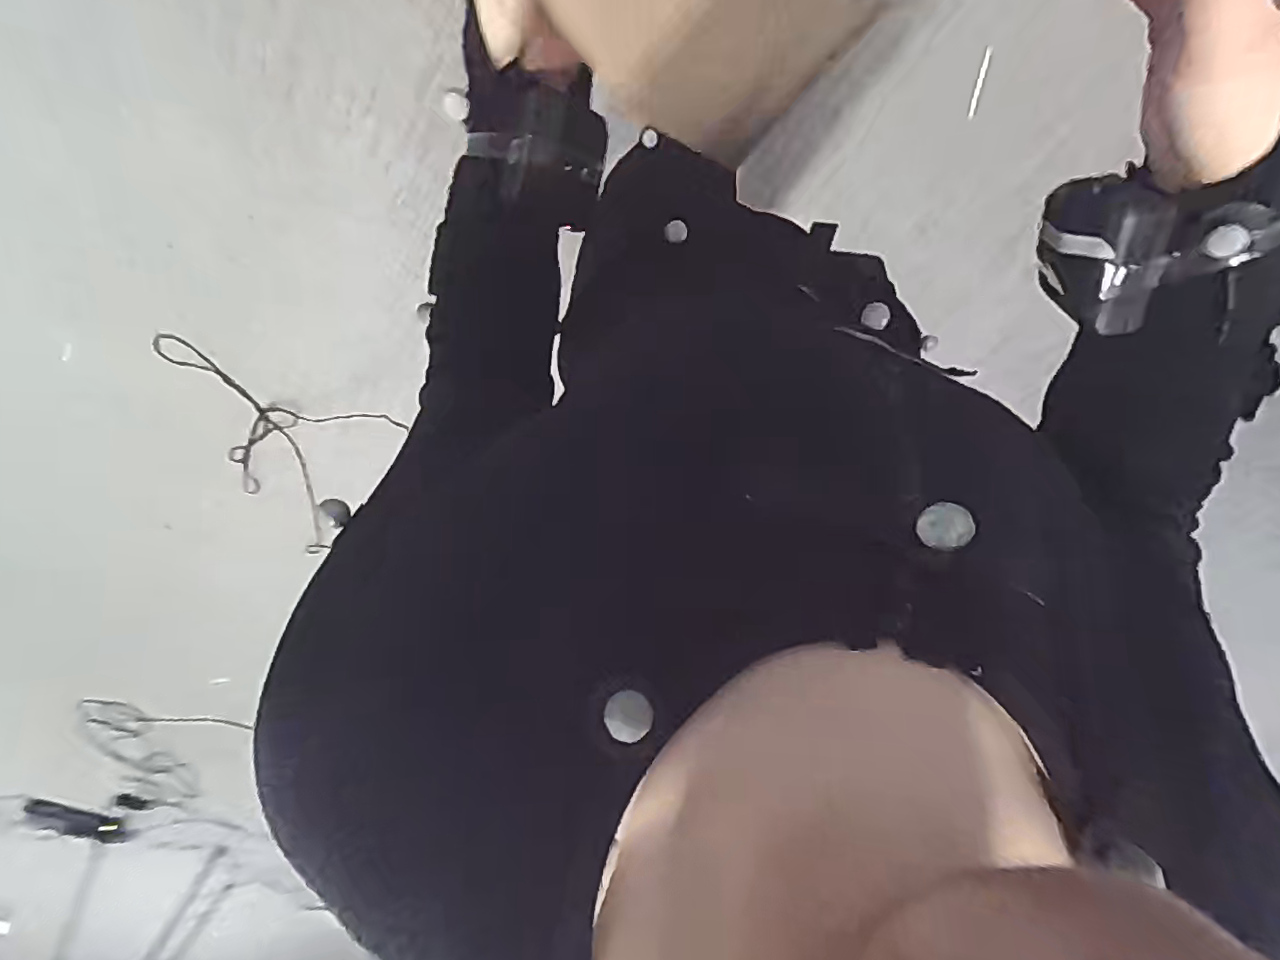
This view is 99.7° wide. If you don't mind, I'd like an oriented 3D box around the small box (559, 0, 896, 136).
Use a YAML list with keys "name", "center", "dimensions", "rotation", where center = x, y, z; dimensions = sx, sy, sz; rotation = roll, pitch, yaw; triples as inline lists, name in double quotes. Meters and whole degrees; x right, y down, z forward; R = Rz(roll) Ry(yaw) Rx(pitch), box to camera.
- name: "small box"
  center: [0.033, -0.242, 0.168]
  dimensions: [0.168, 0.176, 0.179]
  rotation: [-34, 98, 30]
